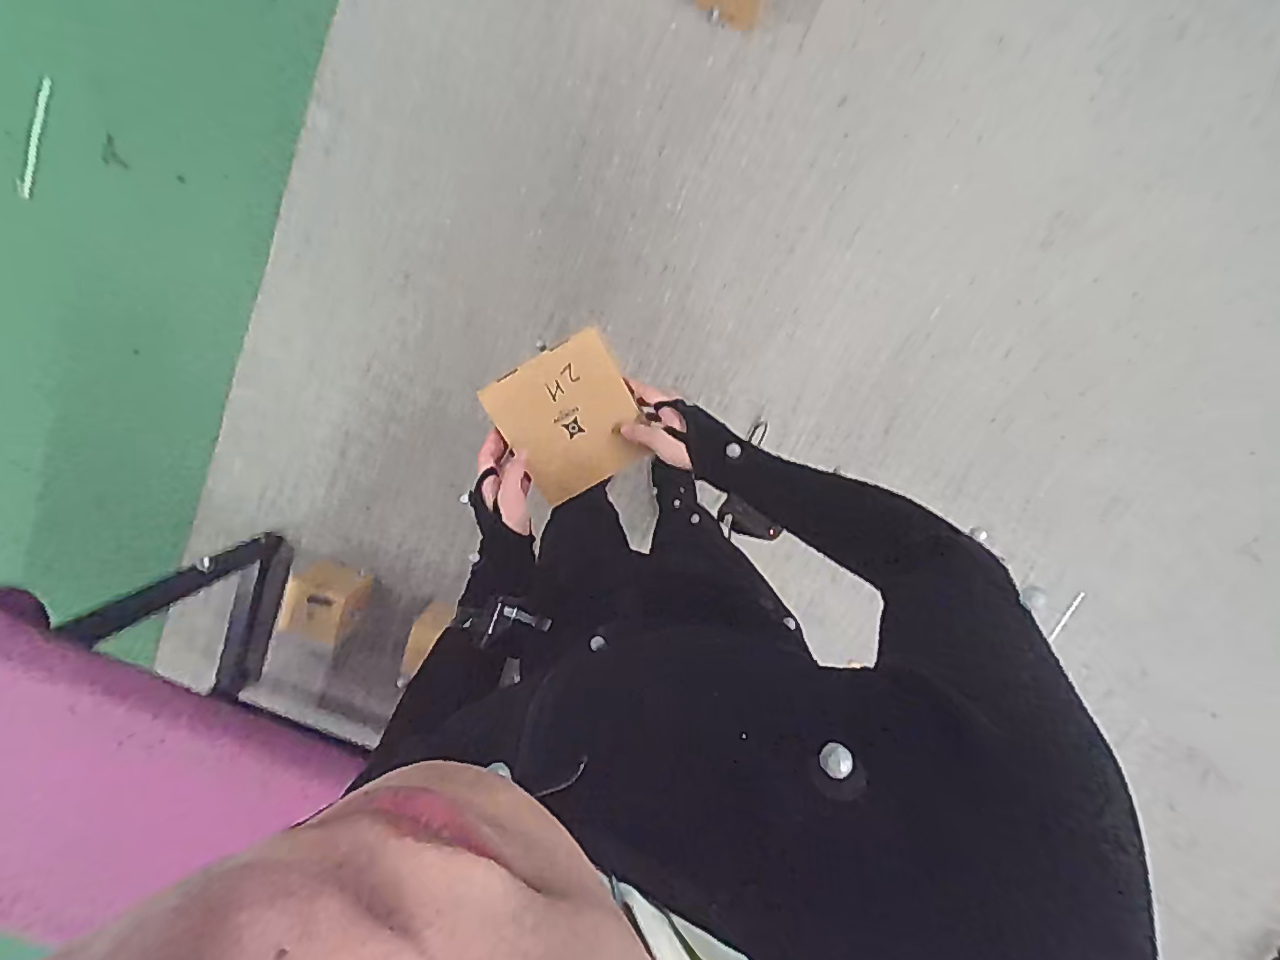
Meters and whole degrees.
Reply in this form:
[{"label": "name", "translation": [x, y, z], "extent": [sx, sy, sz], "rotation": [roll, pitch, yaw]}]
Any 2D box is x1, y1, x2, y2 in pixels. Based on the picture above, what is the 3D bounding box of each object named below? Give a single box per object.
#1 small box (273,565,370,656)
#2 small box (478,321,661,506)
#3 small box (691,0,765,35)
[{"label": "small box", "translation": [-0.920, 0.373, 1.577], "extent": [0.168, 0.176, 0.179], "rotation": [20, 103, -3]}, {"label": "small box", "translation": [-0.085, -0.098, 0.727], "extent": [0.168, 0.176, 0.179], "rotation": [-27, 108, 5]}, {"label": "small box", "translation": [0.222, -1.169, 1.215], "extent": [0.168, 0.176, 0.179], "rotation": [23, 102, -3]}]
